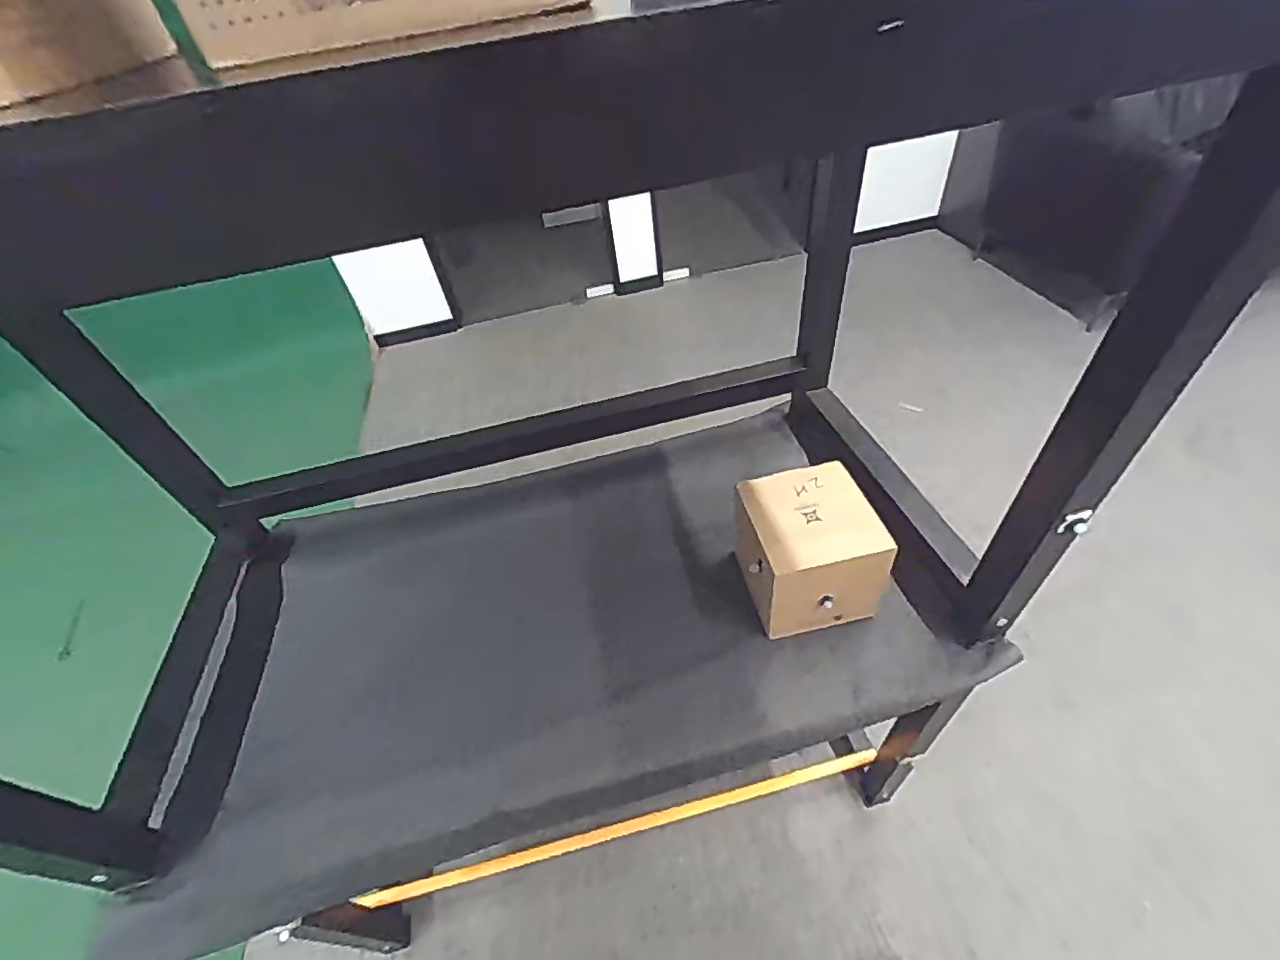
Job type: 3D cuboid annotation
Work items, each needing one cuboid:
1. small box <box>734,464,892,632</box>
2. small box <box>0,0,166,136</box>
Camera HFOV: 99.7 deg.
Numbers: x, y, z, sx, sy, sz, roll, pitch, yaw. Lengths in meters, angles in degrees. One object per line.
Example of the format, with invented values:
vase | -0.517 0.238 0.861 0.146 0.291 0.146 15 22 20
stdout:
small box | 0.244 0.107 0.806 0.168 0.176 0.179 -11 44 -2
small box | -0.359 -0.238 0.221 0.168 0.176 0.179 -13 44 -3
